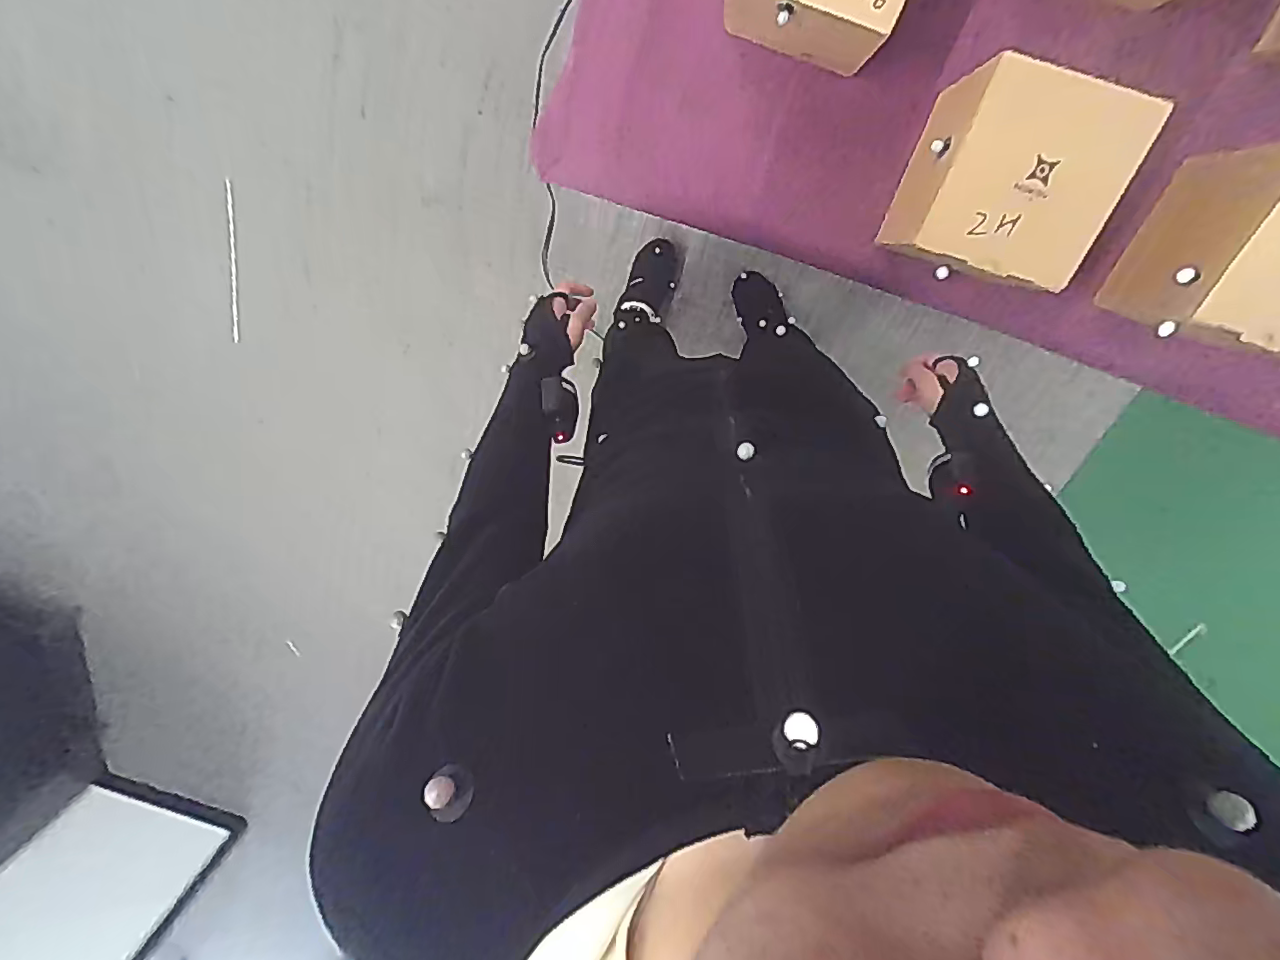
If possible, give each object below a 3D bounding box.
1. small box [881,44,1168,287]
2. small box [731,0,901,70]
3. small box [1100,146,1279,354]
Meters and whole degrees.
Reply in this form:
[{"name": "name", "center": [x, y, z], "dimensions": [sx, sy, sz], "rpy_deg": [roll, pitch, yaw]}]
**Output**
[{"name": "small box", "center": [0.399, -0.336, 0.606], "dimensions": [0.168, 0.176, 0.179], "rpy_deg": [18, 116, 0]}, {"name": "small box", "center": [0.193, -0.550, 0.531], "dimensions": [0.168, 0.176, 0.179], "rpy_deg": [21, 117, 0]}, {"name": "small box", "center": [0.684, -0.257, 0.605], "dimensions": [0.168, 0.176, 0.179], "rpy_deg": [18, 117, -1]}]
